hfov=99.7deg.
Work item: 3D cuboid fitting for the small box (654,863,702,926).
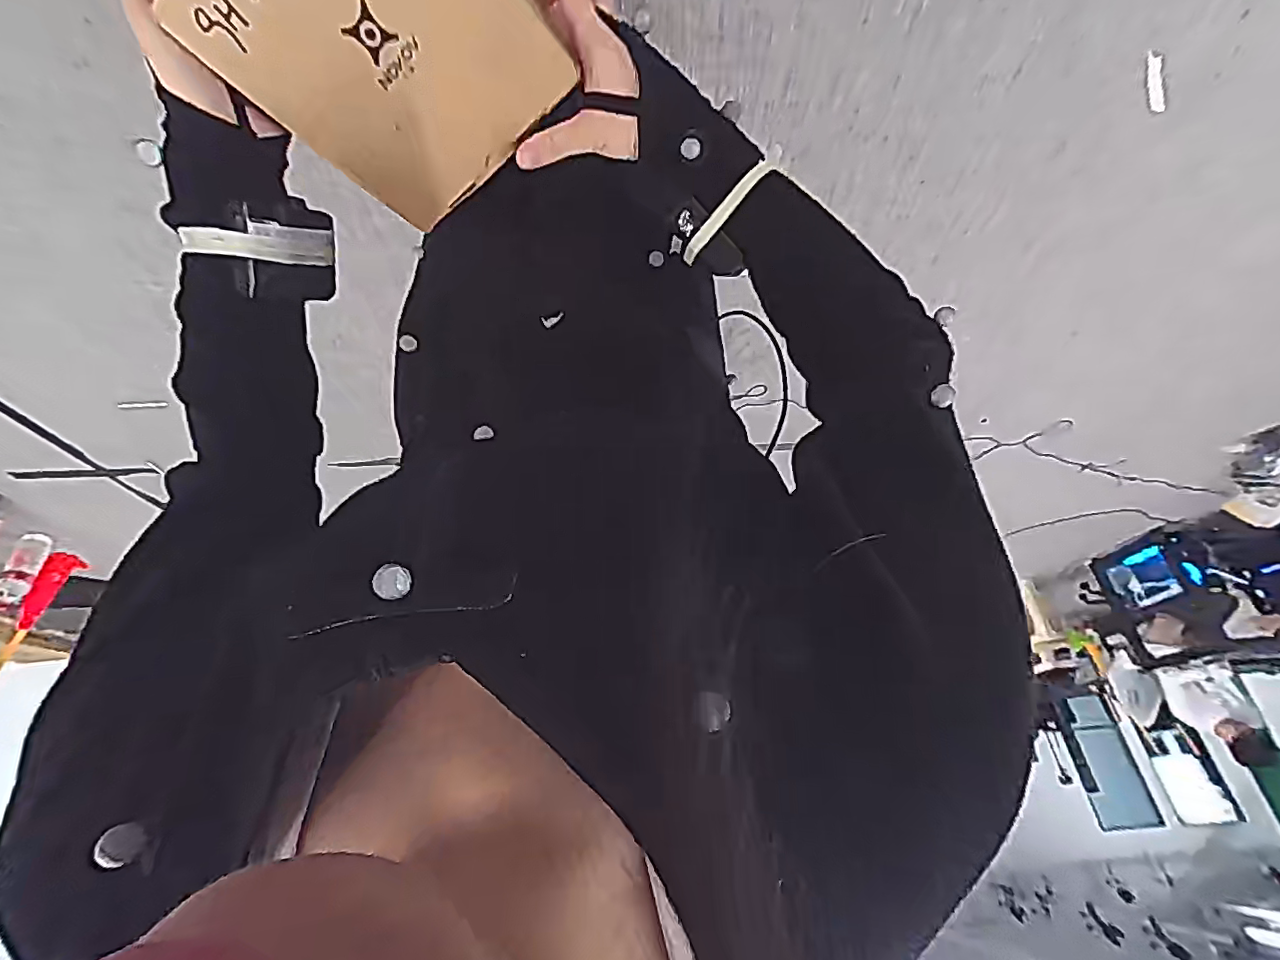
[{"bbox_3d":[0.143,1.603,2.098,0.179,0.176,0.168,-5,152,1],"label":"small box"}]

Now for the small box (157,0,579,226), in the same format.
[{"bbox_3d":[-0.164,-0.326,0.366,0.168,0.176,0.179,-27,147,24],"label":"small box"}]
